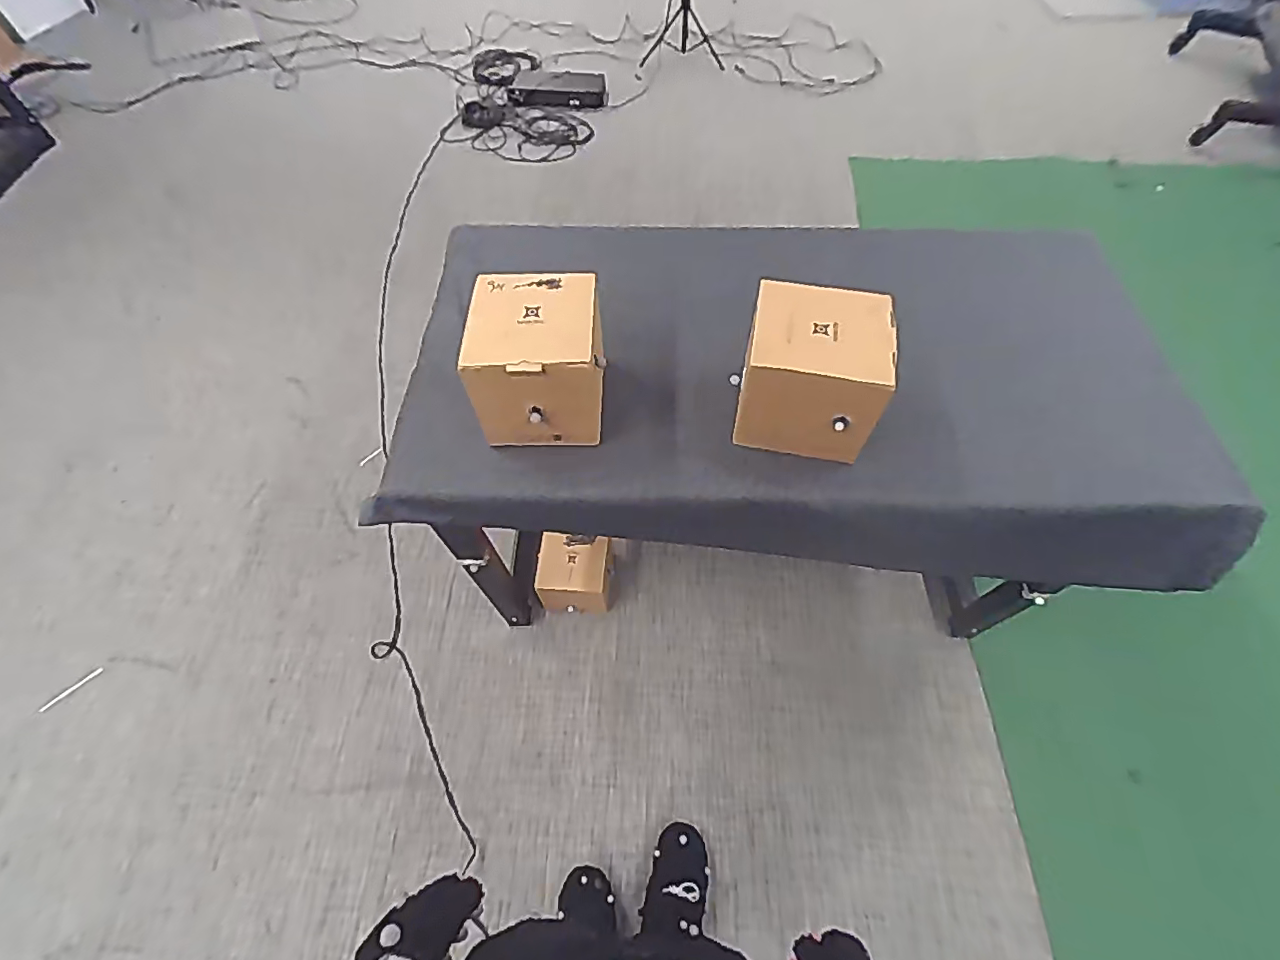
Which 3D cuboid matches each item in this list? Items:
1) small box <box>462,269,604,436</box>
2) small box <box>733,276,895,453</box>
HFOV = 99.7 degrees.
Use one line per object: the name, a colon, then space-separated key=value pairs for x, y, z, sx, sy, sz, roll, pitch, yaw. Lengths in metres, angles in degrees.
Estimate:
small box: x=-0.138 y=-0.175 z=0.772 sx=0.168 sy=0.176 sz=0.179 roll=-1 pitch=59 yaw=-1
small box: x=0.236 y=-0.156 z=0.761 sx=0.179 sy=0.176 sz=0.168 roll=9 pitch=58 yaw=7
